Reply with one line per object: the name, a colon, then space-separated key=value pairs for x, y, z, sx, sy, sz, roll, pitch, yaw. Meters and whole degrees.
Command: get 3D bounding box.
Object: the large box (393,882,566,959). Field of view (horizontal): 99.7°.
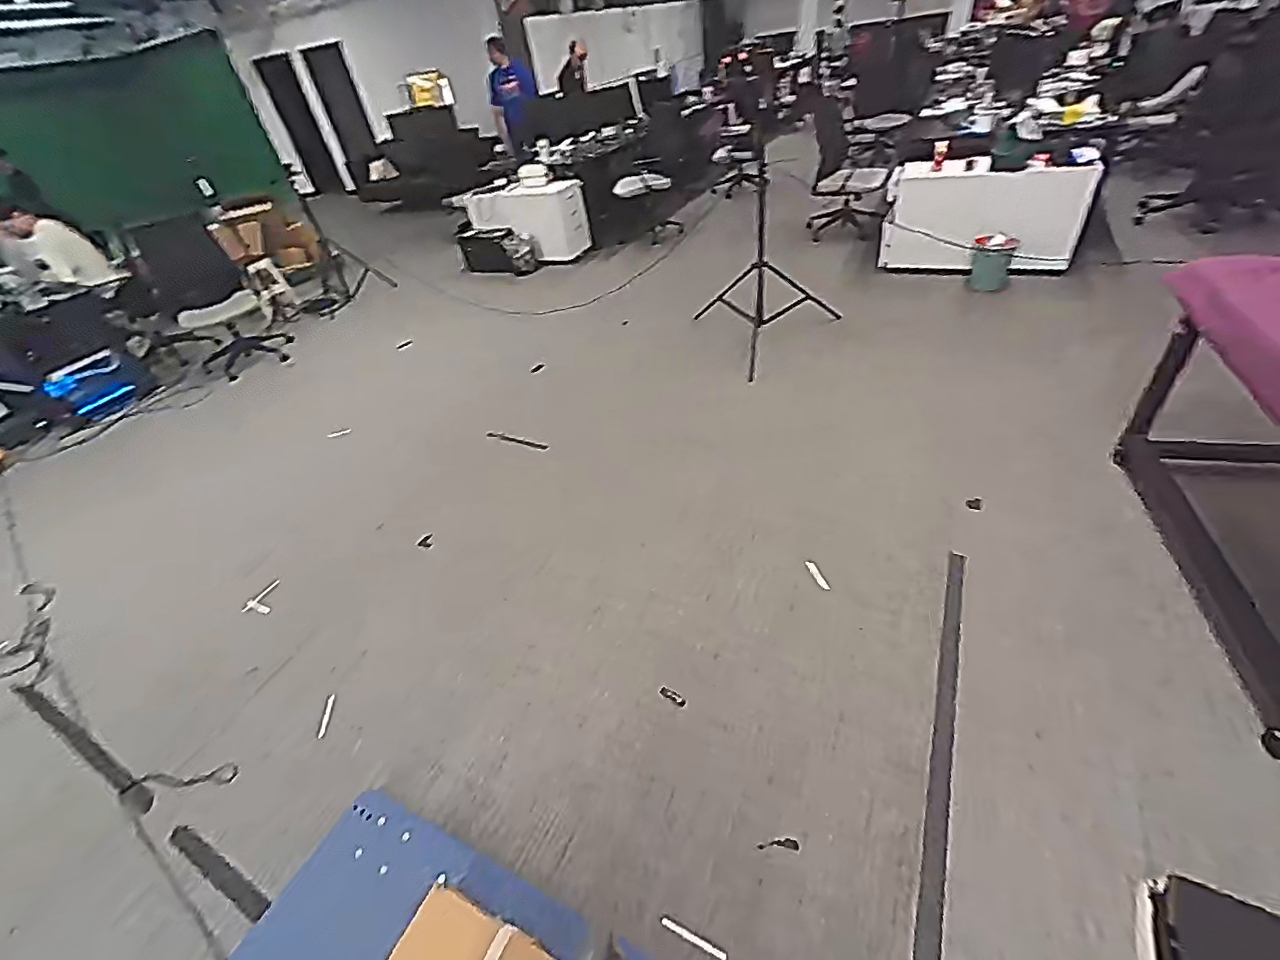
large box: x=-0.266 y=0.947 z=0.819 sx=0.320 sy=0.320 sz=0.408 roll=12 pitch=44 yaw=24
